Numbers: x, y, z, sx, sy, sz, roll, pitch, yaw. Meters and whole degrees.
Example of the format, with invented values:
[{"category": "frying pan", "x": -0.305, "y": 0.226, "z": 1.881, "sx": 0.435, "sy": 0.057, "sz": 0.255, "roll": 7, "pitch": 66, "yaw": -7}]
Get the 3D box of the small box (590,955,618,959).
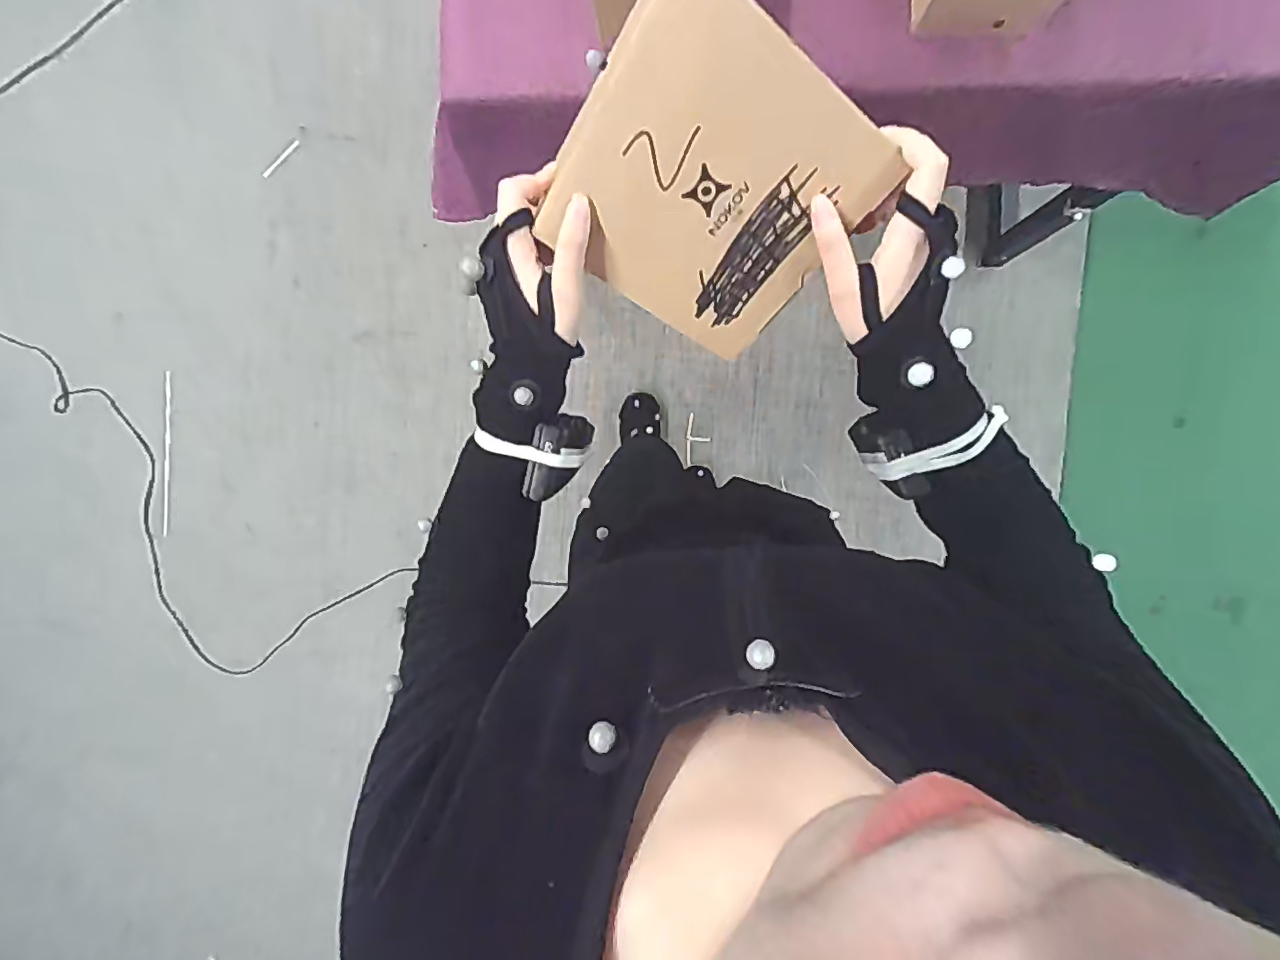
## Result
[{"category": "small box", "x": -0.067, "y": 1.399, "z": 1.410, "sx": 0.168, "sy": 0.176, "sz": 0.179, "roll": 4, "pitch": 91, "yaw": 4}]
